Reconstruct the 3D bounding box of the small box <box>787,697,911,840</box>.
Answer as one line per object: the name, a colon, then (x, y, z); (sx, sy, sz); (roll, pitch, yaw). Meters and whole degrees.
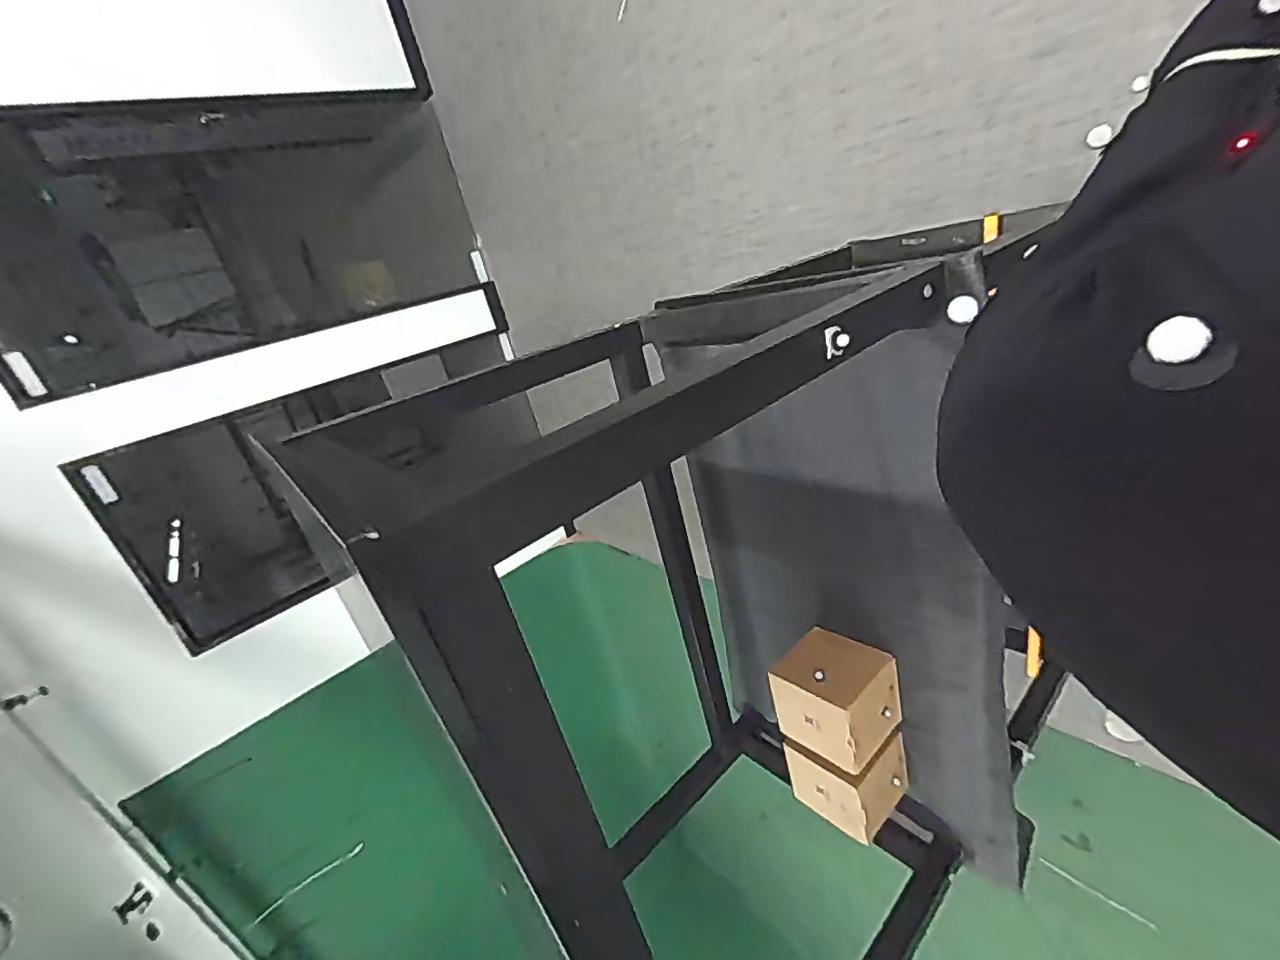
small box: (0.442, 0.594, 1.142); (0.179, 0.176, 0.168); (12, 124, 52)
